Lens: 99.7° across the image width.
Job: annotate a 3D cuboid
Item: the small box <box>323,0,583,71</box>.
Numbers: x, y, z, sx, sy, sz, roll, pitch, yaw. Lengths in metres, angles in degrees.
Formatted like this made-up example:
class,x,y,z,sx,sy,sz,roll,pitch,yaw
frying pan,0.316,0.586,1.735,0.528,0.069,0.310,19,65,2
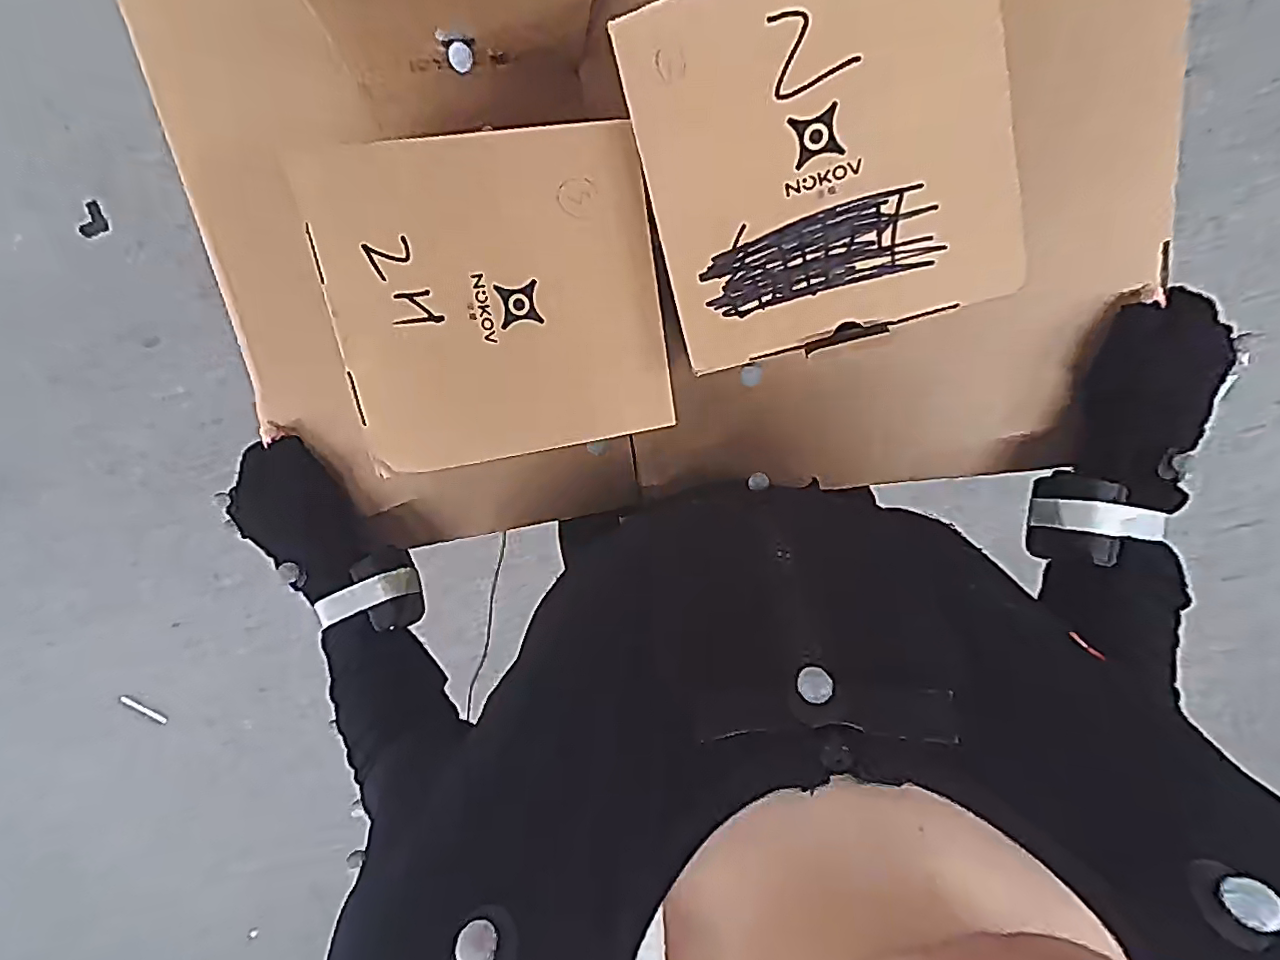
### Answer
class,x,y,z,sx,sy,sz,roll,pitch,yaw
small box,-0.124,-0.374,0.303,0.168,0.176,0.179,-12,106,-9
